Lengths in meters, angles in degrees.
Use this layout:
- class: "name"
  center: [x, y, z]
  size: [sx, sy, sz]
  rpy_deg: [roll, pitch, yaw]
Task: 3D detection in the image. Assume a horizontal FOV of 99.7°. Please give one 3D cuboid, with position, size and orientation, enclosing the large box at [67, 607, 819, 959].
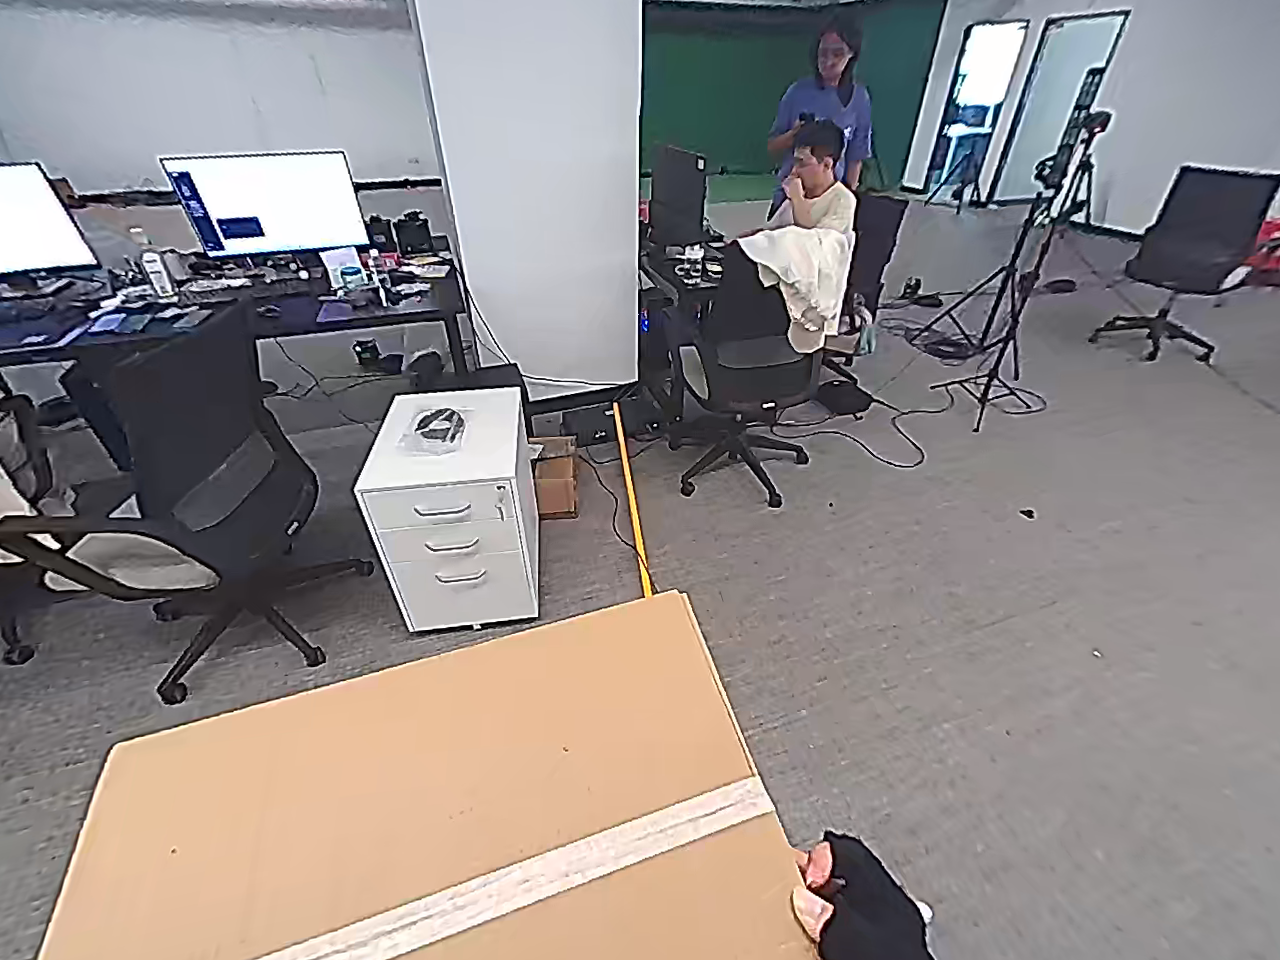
- class: "large box"
  center: [-0.111, 0.354, 0.418]
  size: [0.408, 0.320, 0.320]
  rpy_deg: [-13, 48, -11]
